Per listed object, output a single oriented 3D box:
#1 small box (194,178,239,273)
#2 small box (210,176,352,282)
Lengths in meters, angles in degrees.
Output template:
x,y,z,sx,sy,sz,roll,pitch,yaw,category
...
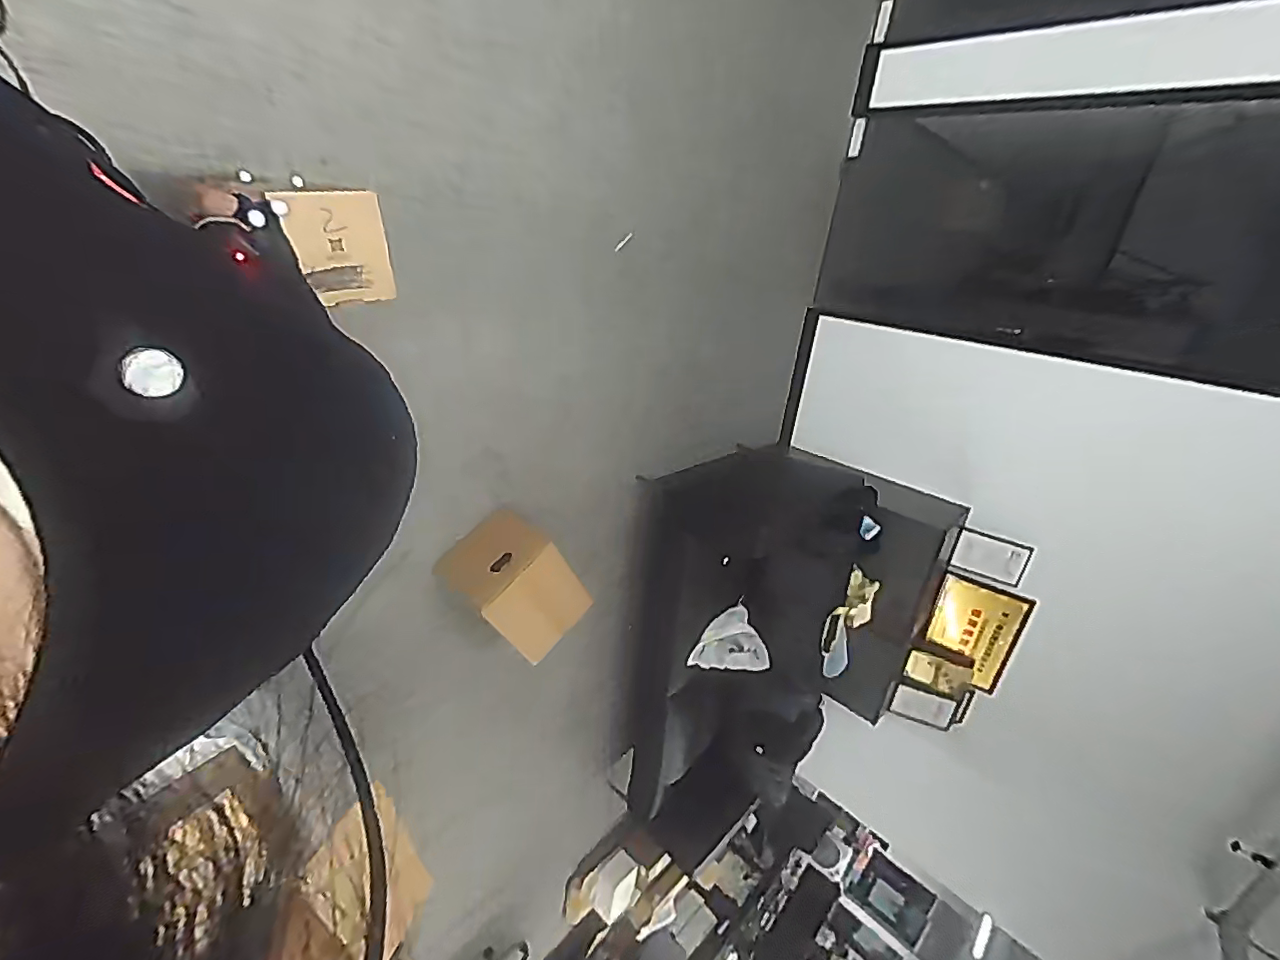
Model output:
x,y,z,sx,sy,sz,roll,pitch,yaw,category
-0.800,-0.528,1.130,0.179,0.176,0.168,-20,126,-43,small box
-0.683,-0.477,1.028,0.179,0.176,0.168,-24,130,-42,small box
